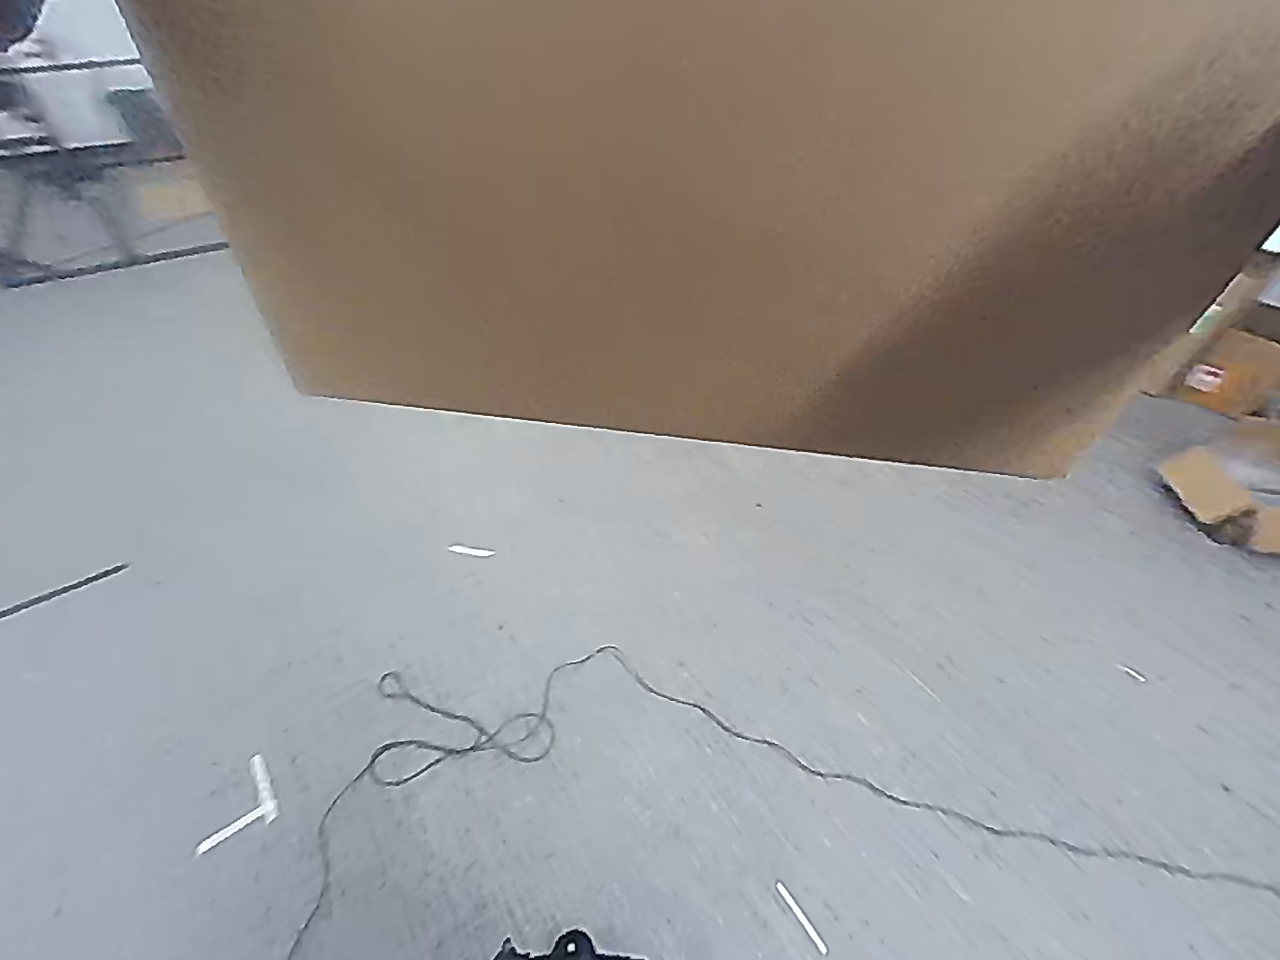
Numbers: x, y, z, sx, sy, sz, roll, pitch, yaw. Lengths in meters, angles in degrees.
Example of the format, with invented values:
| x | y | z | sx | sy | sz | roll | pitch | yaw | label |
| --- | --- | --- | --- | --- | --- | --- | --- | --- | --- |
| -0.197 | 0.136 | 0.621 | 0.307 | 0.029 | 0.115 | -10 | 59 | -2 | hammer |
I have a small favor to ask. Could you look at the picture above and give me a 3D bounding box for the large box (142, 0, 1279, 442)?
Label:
| x | y | z | sx | sy | sz | roll | pitch | yaw | label |
| --- | --- | --- | --- | --- | --- | --- | --- | --- | --- |
| 0.034 | -0.246 | 0.291 | 0.408 | 0.320 | 0.320 | 7 | 45 | 0 | large box |
